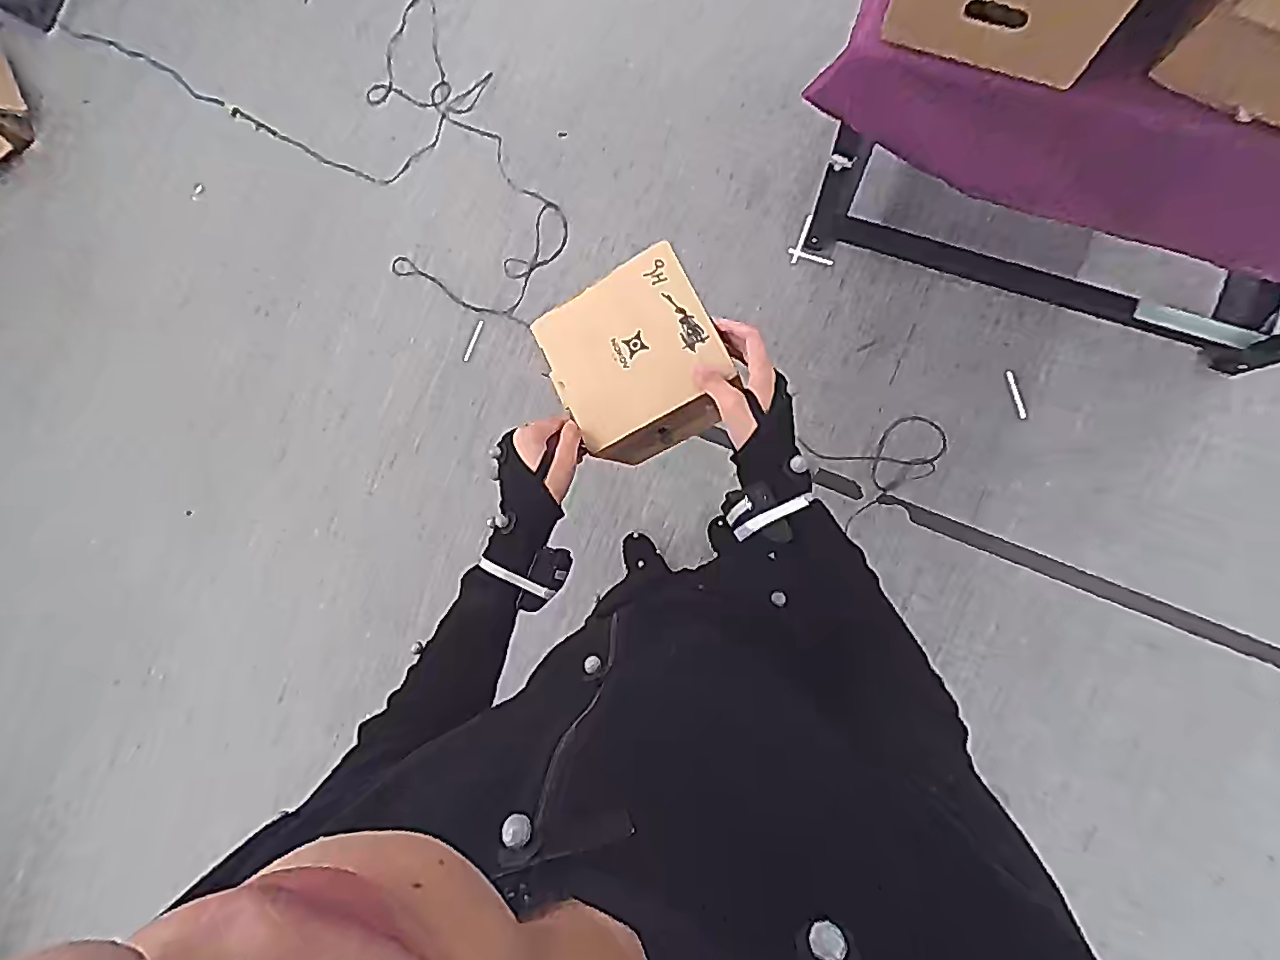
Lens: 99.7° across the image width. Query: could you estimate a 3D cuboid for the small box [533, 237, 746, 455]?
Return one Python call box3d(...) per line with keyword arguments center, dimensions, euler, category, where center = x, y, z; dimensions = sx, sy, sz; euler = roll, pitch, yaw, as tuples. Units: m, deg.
box3d(center=(0.009, -0.138, 0.639), dimensions=(0.179, 0.176, 0.168), euler=(-26, 82, 14), category="small box")
